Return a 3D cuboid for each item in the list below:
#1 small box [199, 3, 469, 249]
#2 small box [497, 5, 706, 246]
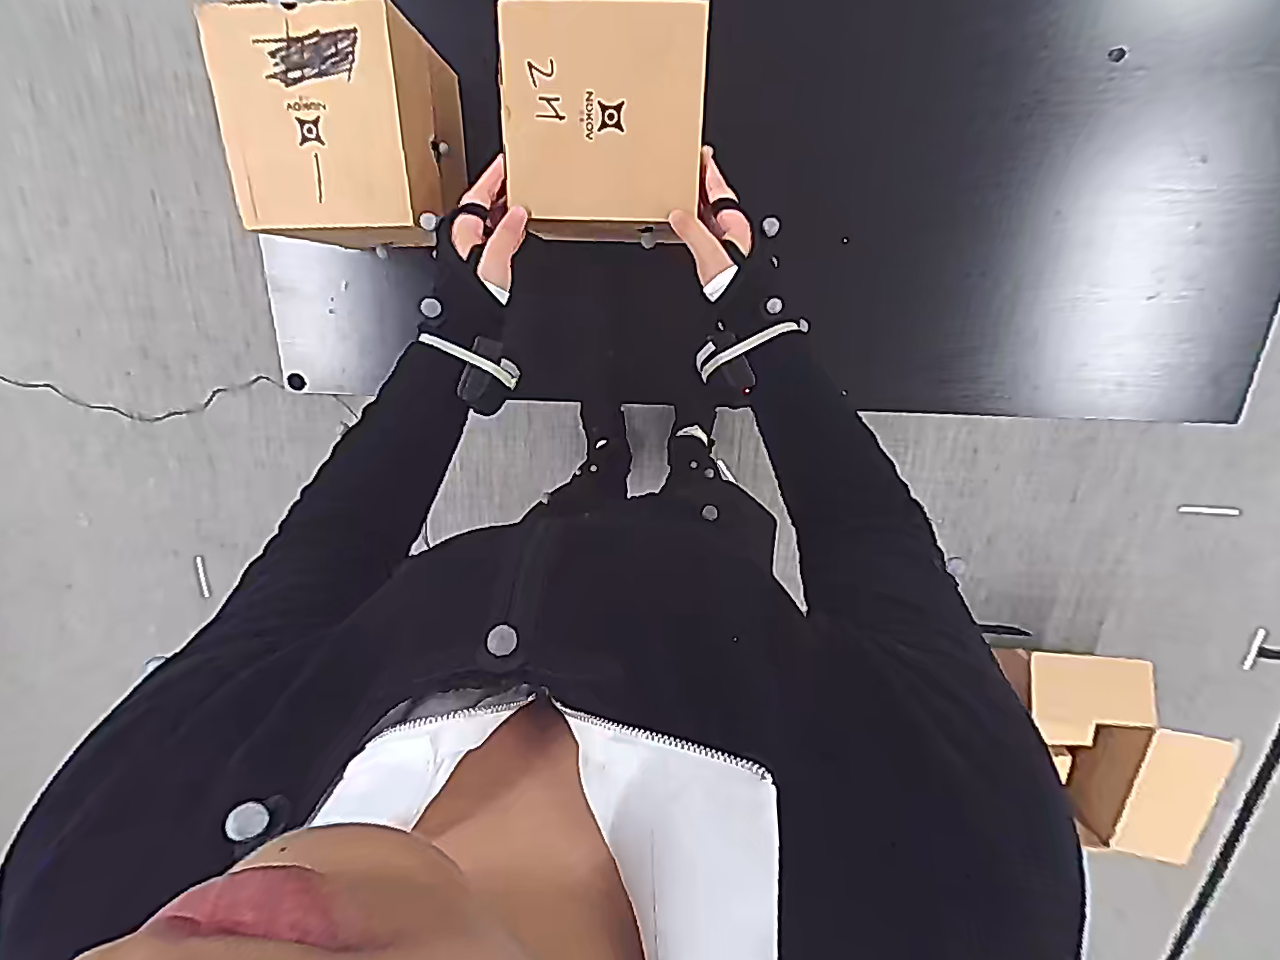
[{"bbox_3d":[-0.289,-0.341,0.556,0.168,0.176,0.179,0,109,2],"label":"small box"},{"bbox_3d":[-0.032,-0.336,0.545,0.179,0.176,0.168,2,108,2],"label":"small box"}]
